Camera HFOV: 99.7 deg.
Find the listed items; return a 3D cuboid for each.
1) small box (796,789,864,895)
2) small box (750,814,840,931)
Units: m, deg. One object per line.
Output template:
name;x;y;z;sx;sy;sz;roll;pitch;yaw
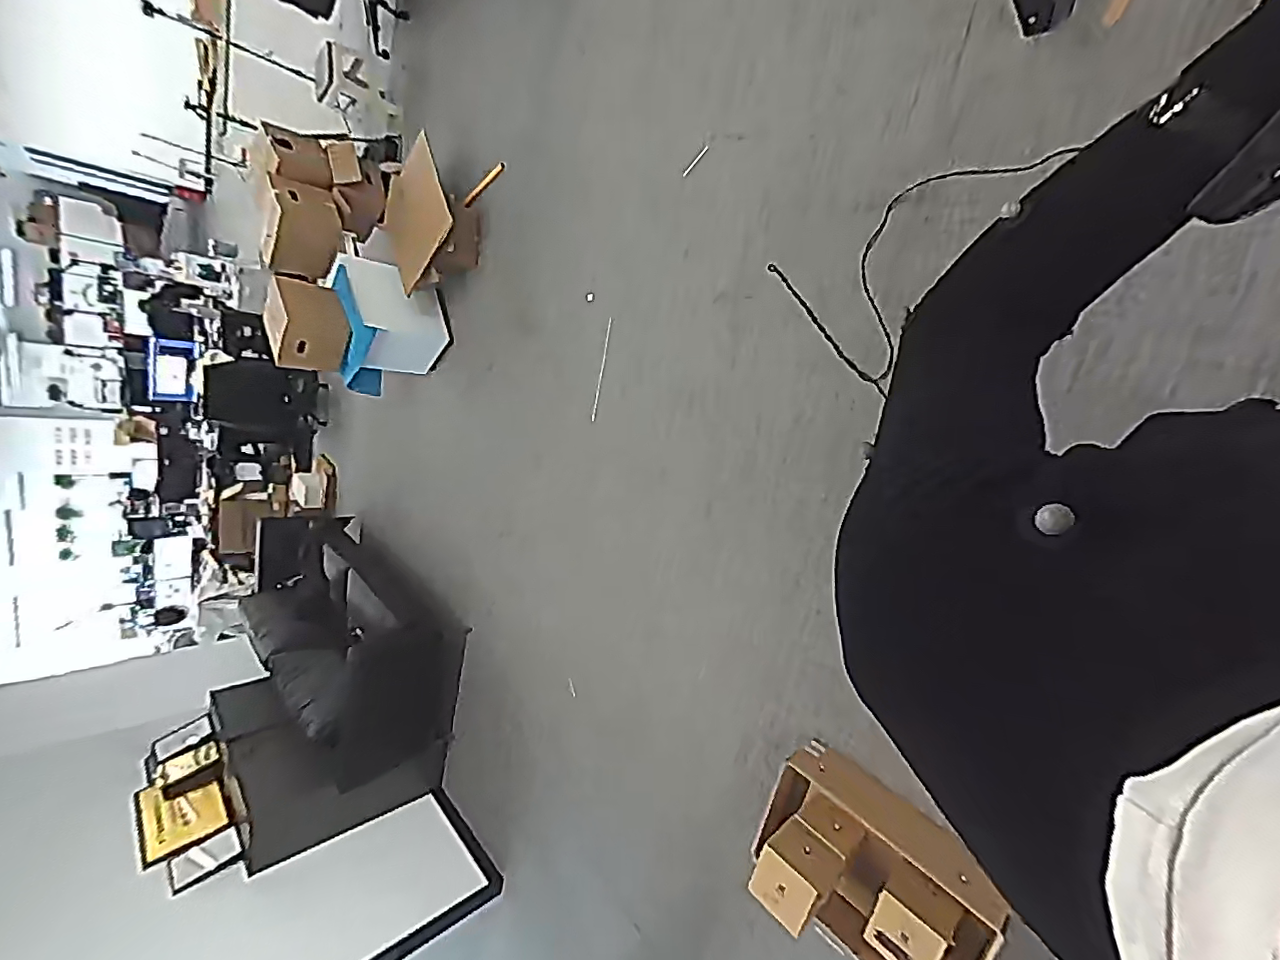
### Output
small box;0.563;1.098;1.656;0.168;0.176;0.179;27;110;40
small box;0.446;1.104;1.539;0.168;0.176;0.179;28;111;39
